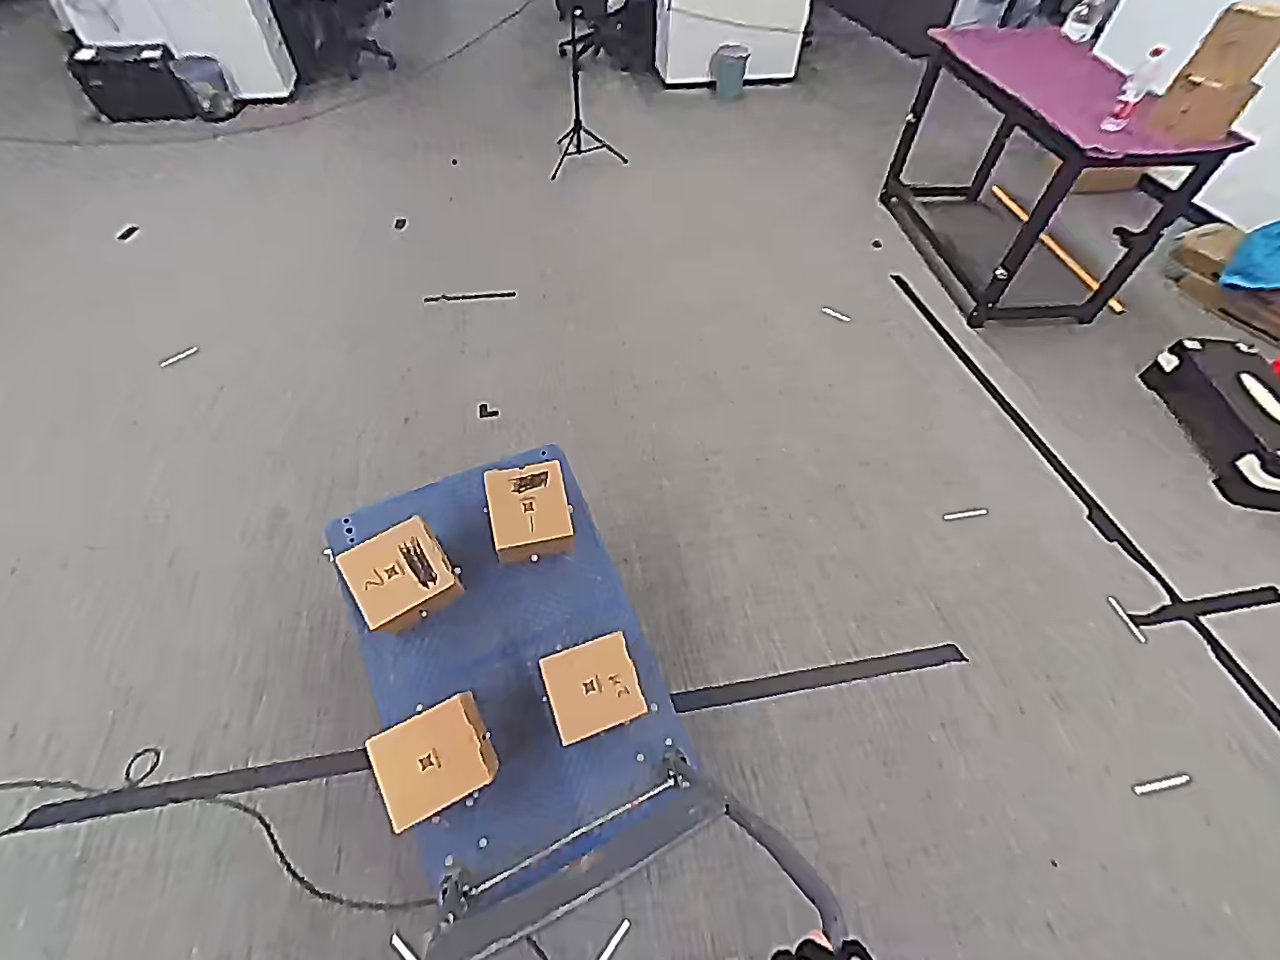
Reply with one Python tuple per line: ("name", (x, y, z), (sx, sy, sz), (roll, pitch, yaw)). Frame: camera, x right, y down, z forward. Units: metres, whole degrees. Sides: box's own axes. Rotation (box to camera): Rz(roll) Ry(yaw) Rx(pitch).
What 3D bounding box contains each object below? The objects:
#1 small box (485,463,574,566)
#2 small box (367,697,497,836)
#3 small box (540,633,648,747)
("small box", (-0.251, 0.082, 1.226), (0.168, 0.176, 0.179), (-10, 73, -13))
("small box", (-0.388, 0.536, 1.037), (0.179, 0.176, 0.168), (-23, 76, -19))
("small box", (-0.101, 0.432, 1.125), (0.179, 0.176, 0.168), (-16, 74, -15))
